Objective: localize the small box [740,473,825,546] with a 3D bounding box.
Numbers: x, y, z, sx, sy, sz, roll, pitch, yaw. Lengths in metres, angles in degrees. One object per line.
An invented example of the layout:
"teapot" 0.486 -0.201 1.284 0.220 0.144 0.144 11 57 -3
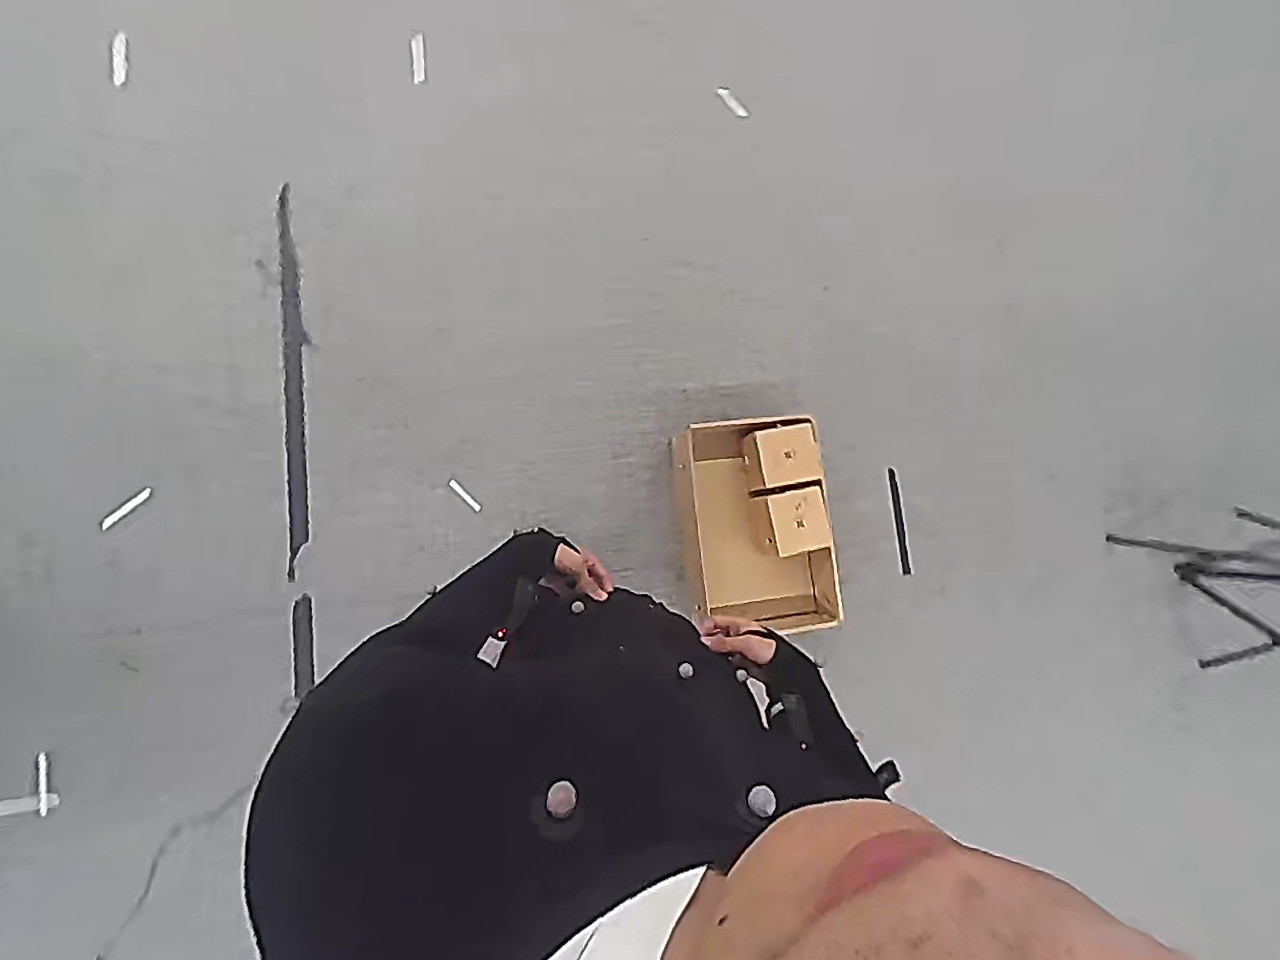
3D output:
"small box" 0.415 0.086 1.598 0.168 0.176 0.179 -15 88 -10
